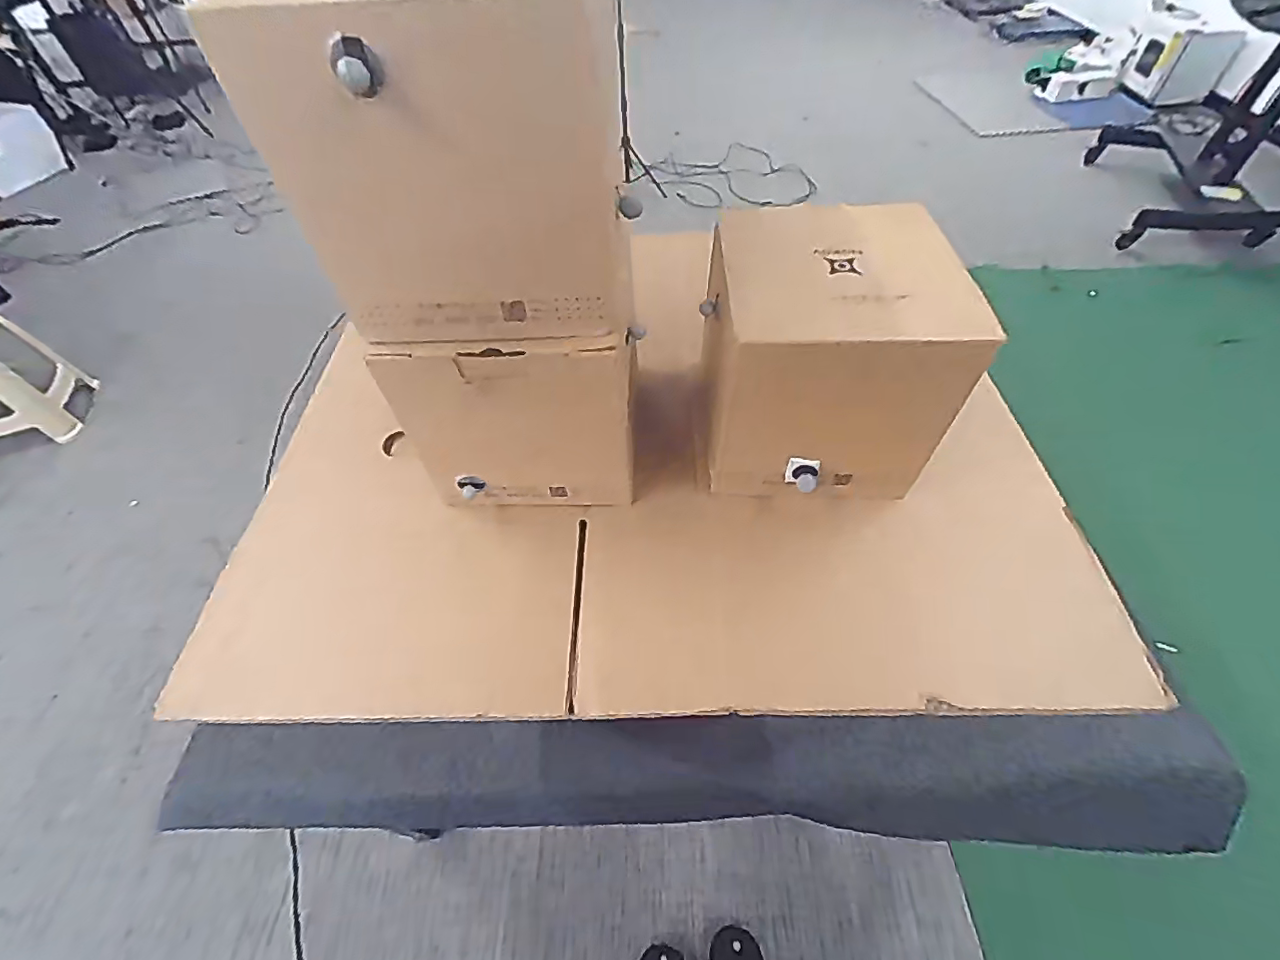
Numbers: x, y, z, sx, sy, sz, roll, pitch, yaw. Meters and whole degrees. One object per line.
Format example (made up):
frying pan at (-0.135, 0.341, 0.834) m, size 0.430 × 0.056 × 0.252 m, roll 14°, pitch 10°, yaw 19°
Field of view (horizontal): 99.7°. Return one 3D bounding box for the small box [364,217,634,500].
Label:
small box at (-0.092, -0.096, 0.458) m, size 0.168 × 0.176 × 0.179 m, roll 0°, pitch 52°, yaw 3°

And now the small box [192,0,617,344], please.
small box at (-0.104, -0.205, 0.336) m, size 0.168 × 0.176 × 0.179 m, roll -1°, pitch 52°, yaw 2°
